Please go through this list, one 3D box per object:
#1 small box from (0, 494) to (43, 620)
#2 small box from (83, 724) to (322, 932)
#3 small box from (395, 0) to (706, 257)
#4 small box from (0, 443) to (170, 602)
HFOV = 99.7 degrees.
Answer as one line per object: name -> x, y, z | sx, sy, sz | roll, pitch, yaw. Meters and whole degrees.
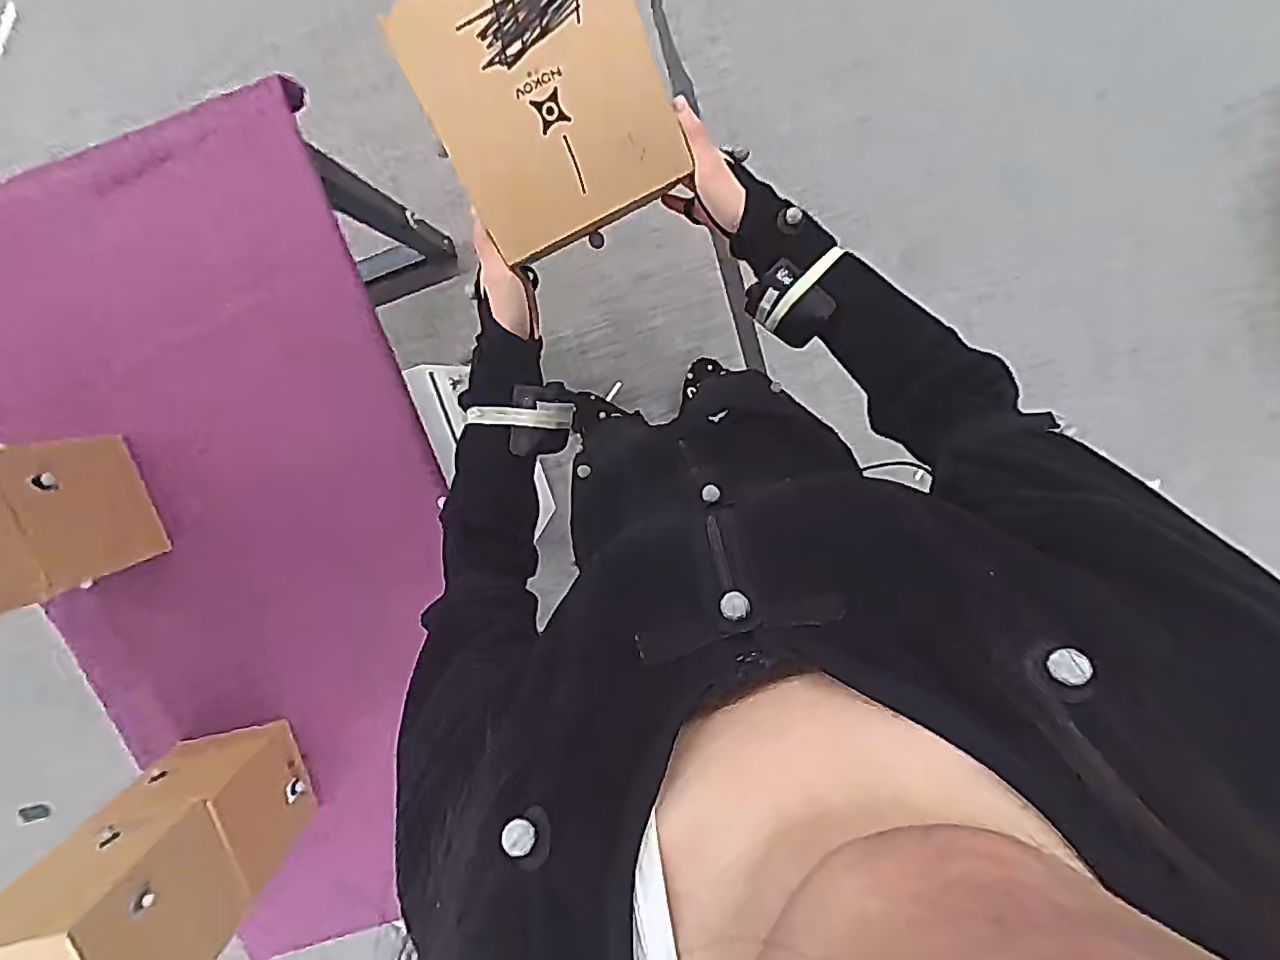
small box -> -0.767, 0.091, 0.525 | 0.168, 0.176, 0.179 | -14, 102, 1
small box -> -0.603, 0.483, 0.772 | 0.179, 0.176, 0.168 | -13, 102, 0
small box -> -0.065, -0.305, 0.457 | 0.168, 0.176, 0.179 | -24, 113, 5
small box -> -0.767, 0.057, 0.685 | 0.168, 0.176, 0.179 | -15, 101, 2
